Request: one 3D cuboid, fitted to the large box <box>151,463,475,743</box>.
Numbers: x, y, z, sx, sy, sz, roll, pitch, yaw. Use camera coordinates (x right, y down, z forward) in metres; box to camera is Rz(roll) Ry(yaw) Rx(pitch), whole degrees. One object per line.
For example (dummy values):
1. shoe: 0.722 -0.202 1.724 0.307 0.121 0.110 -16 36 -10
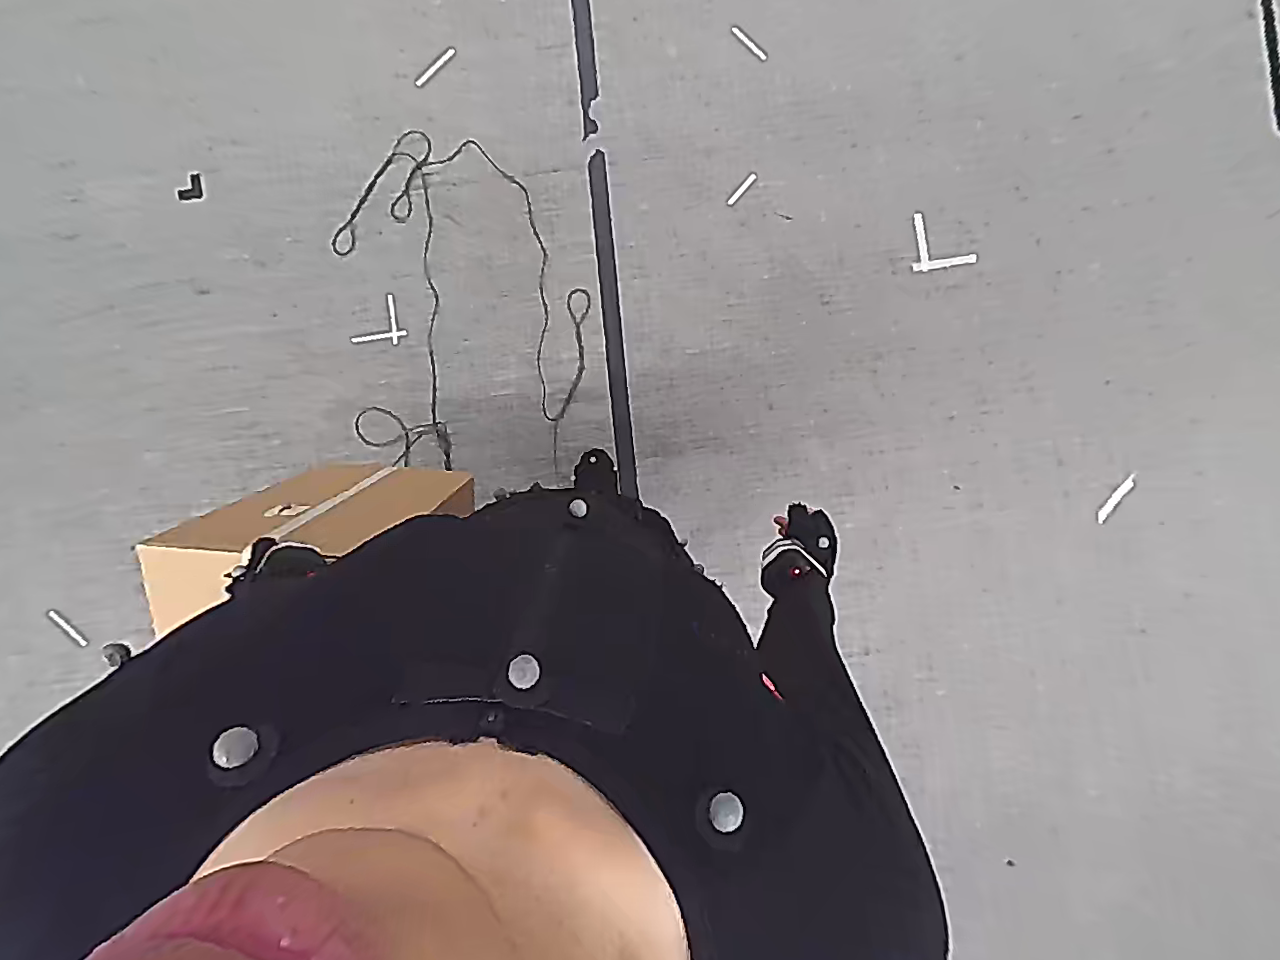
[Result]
1. large box: -0.502 0.180 0.946 0.320 0.408 0.320 3 108 2
